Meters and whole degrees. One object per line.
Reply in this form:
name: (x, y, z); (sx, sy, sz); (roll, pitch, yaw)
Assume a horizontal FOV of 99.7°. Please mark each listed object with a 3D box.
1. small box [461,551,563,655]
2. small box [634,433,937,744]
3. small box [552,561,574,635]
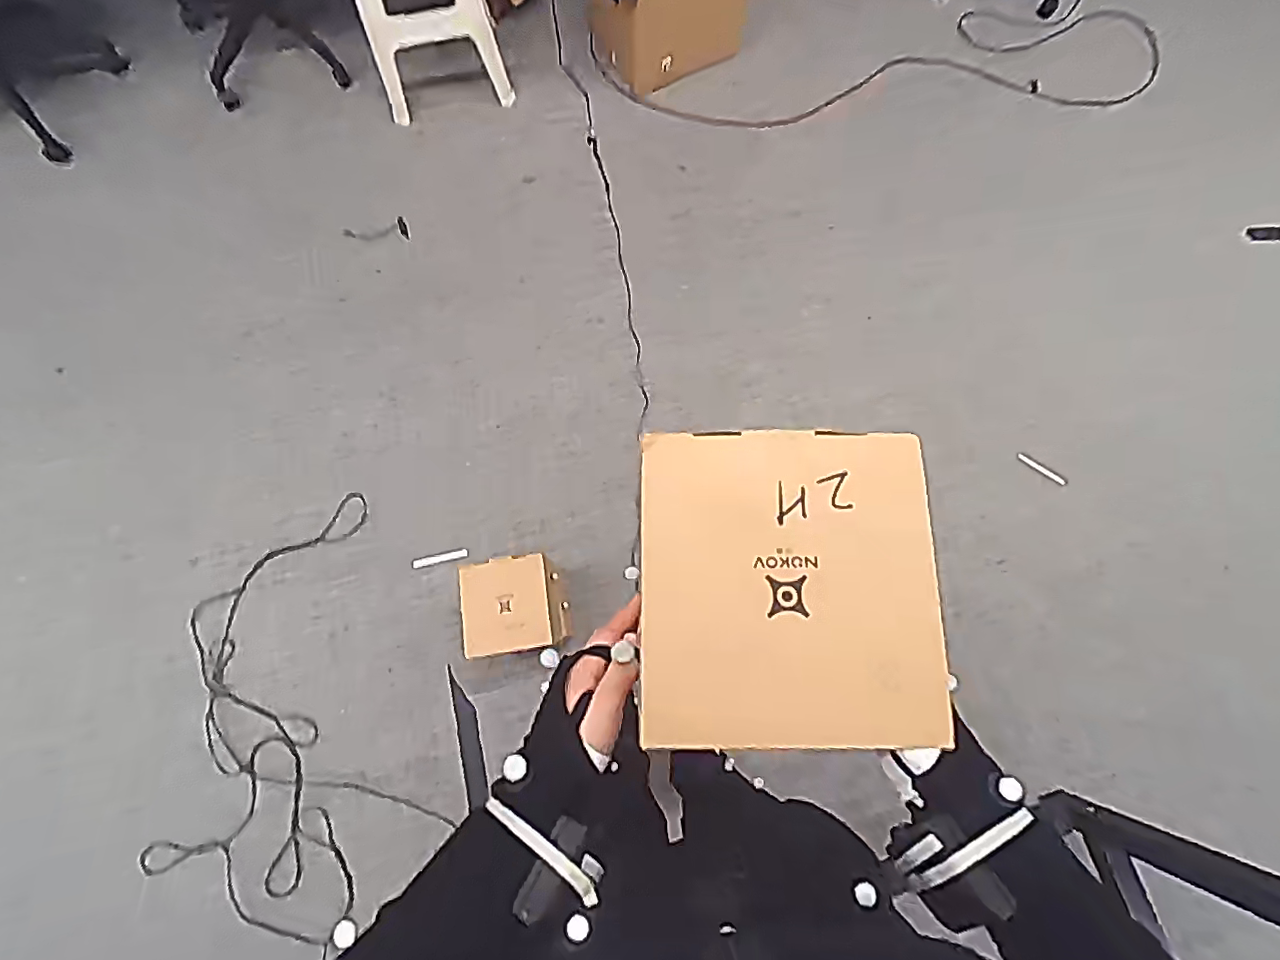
small box: (-0.257, 0.252, 1.110); (0.168, 0.176, 0.179); (-9, 77, -3)
small box: (0.081, 0.074, 0.388); (0.168, 0.176, 0.179); (0, 76, 0)
small box: (-0.264, 0.297, 1.267); (0.179, 0.176, 0.168); (-14, 76, -4)
